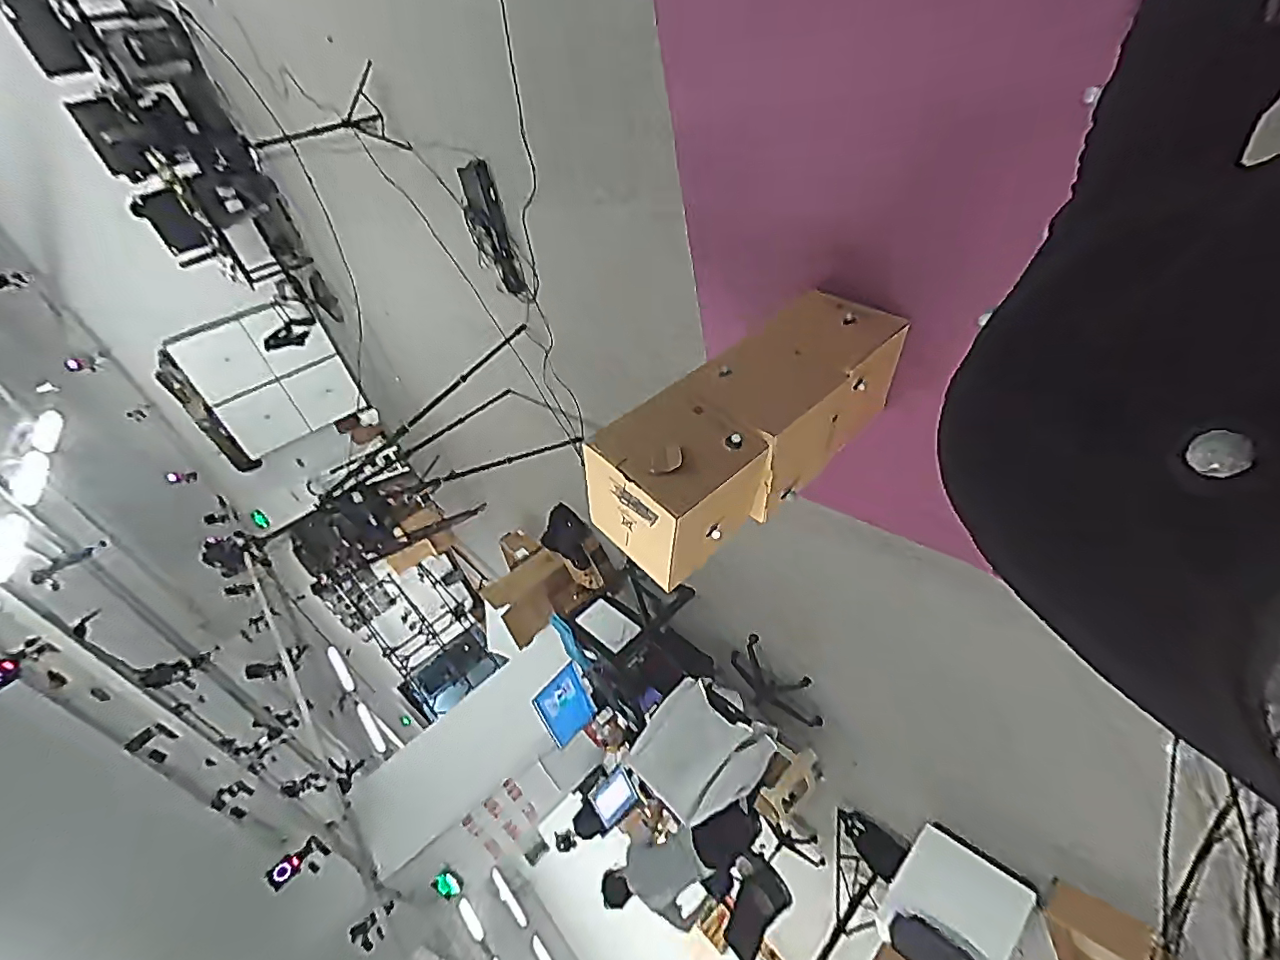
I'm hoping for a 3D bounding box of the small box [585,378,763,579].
[{"bbox_3d":[0.044,-0.008,0.735,0.168,0.176,0.179,40,150,28],"label":"small box"}]

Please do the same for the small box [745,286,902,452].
[{"bbox_3d":[0.290,-0.183,0.869,0.168,0.176,0.179,35,146,33],"label":"small box"}]
